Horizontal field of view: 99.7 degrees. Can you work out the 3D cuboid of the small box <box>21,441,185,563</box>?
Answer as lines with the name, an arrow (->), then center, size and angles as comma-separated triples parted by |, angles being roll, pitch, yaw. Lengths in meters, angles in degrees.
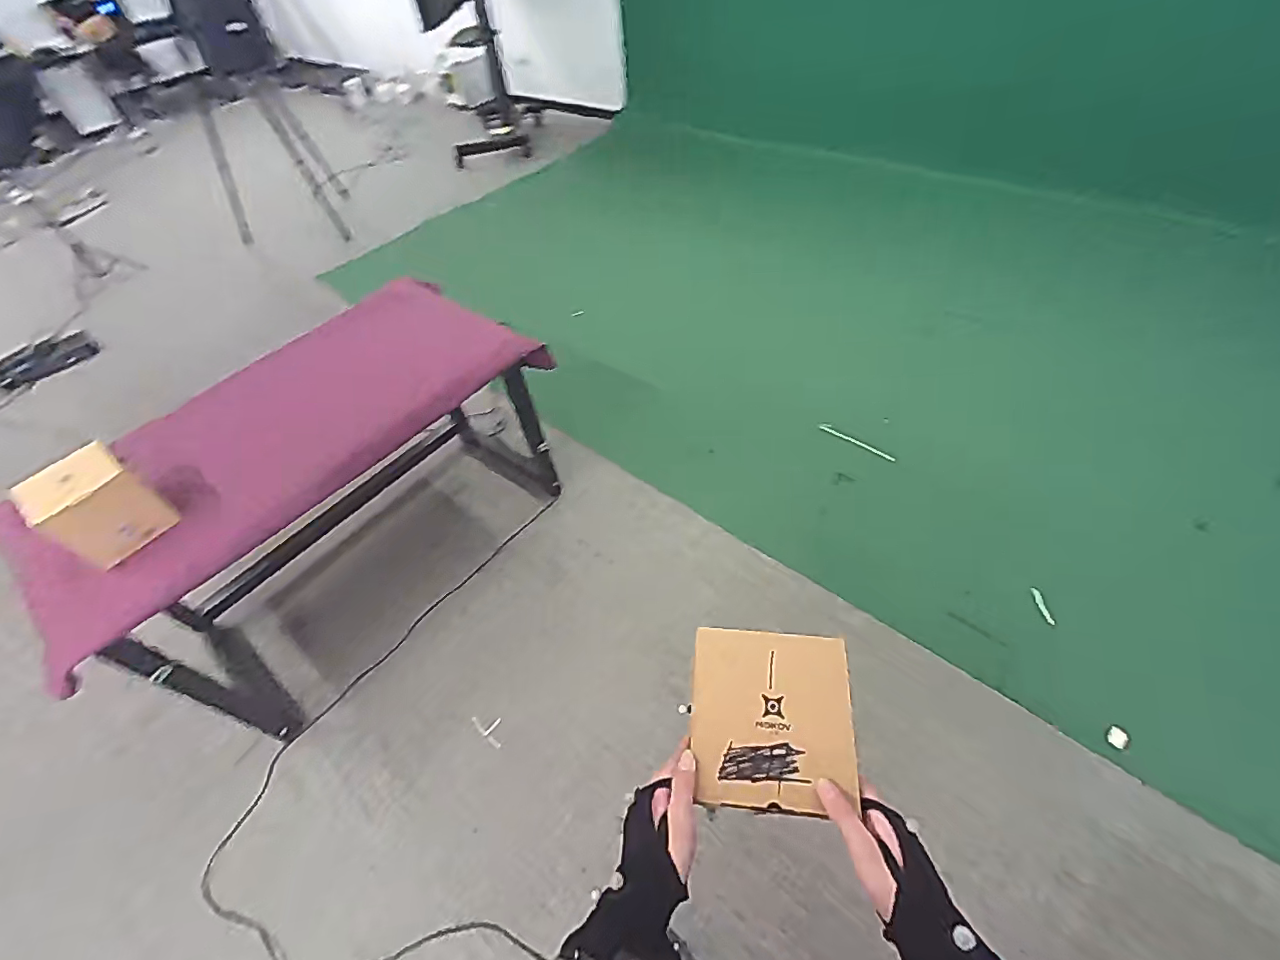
small box -> -1.160, 0.052, 1.178 | 0.179, 0.176, 0.168 | 28, 59, 27

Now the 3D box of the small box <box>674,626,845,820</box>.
small box -> 0.127, 0.286, 0.630 | 0.168, 0.176, 0.179 | 3, 58, 4
